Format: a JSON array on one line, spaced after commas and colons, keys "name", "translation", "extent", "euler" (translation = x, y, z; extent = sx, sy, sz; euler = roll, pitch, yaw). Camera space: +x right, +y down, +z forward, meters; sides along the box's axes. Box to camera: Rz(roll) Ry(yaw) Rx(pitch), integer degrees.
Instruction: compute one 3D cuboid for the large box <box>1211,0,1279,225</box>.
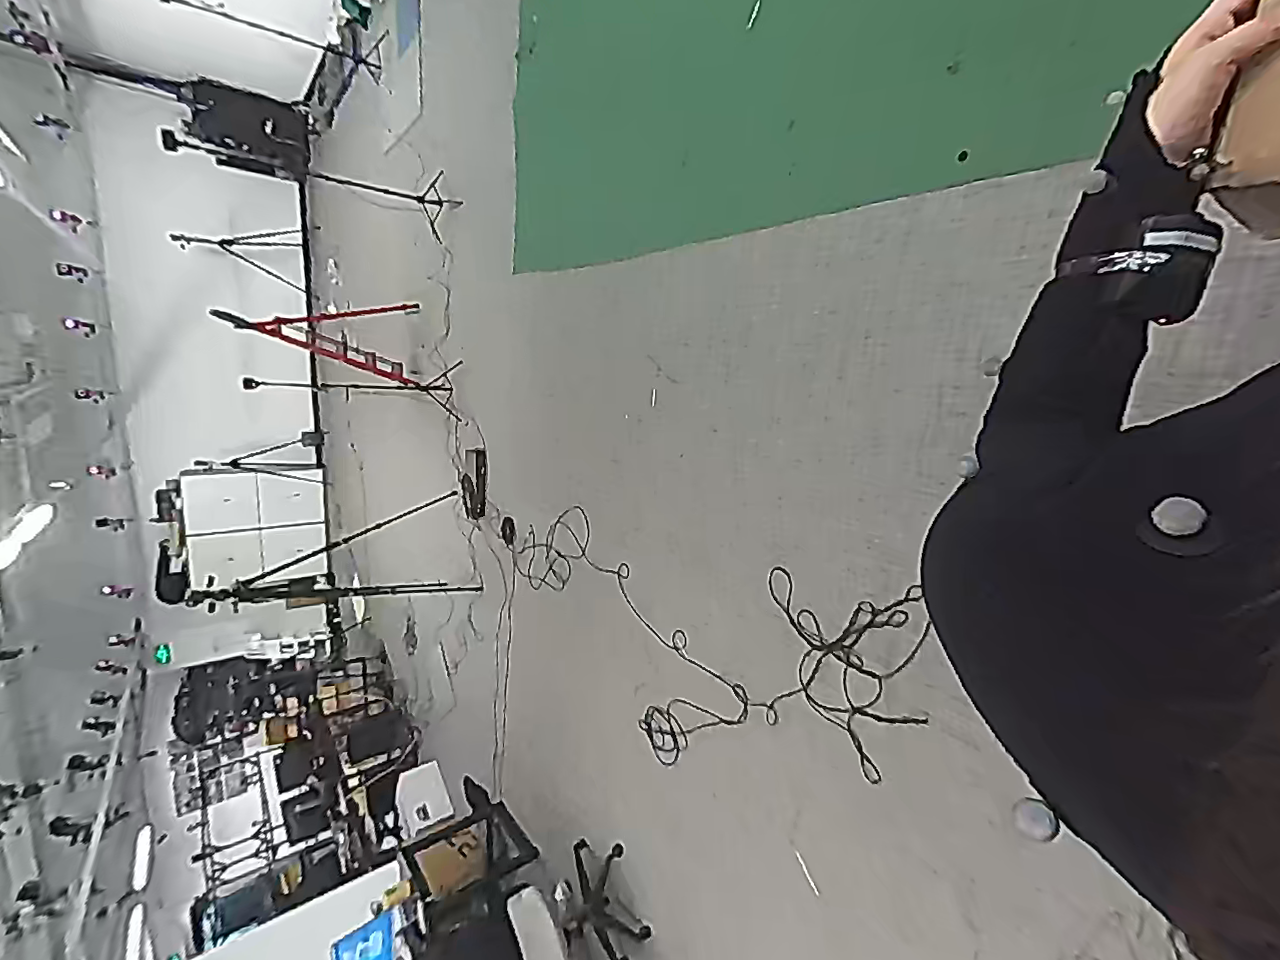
[{"name": "large box", "translation": [0.657, -0.333, 0.281], "extent": [0.408, 0.320, 0.320], "euler": [23, 117, 51]}]
